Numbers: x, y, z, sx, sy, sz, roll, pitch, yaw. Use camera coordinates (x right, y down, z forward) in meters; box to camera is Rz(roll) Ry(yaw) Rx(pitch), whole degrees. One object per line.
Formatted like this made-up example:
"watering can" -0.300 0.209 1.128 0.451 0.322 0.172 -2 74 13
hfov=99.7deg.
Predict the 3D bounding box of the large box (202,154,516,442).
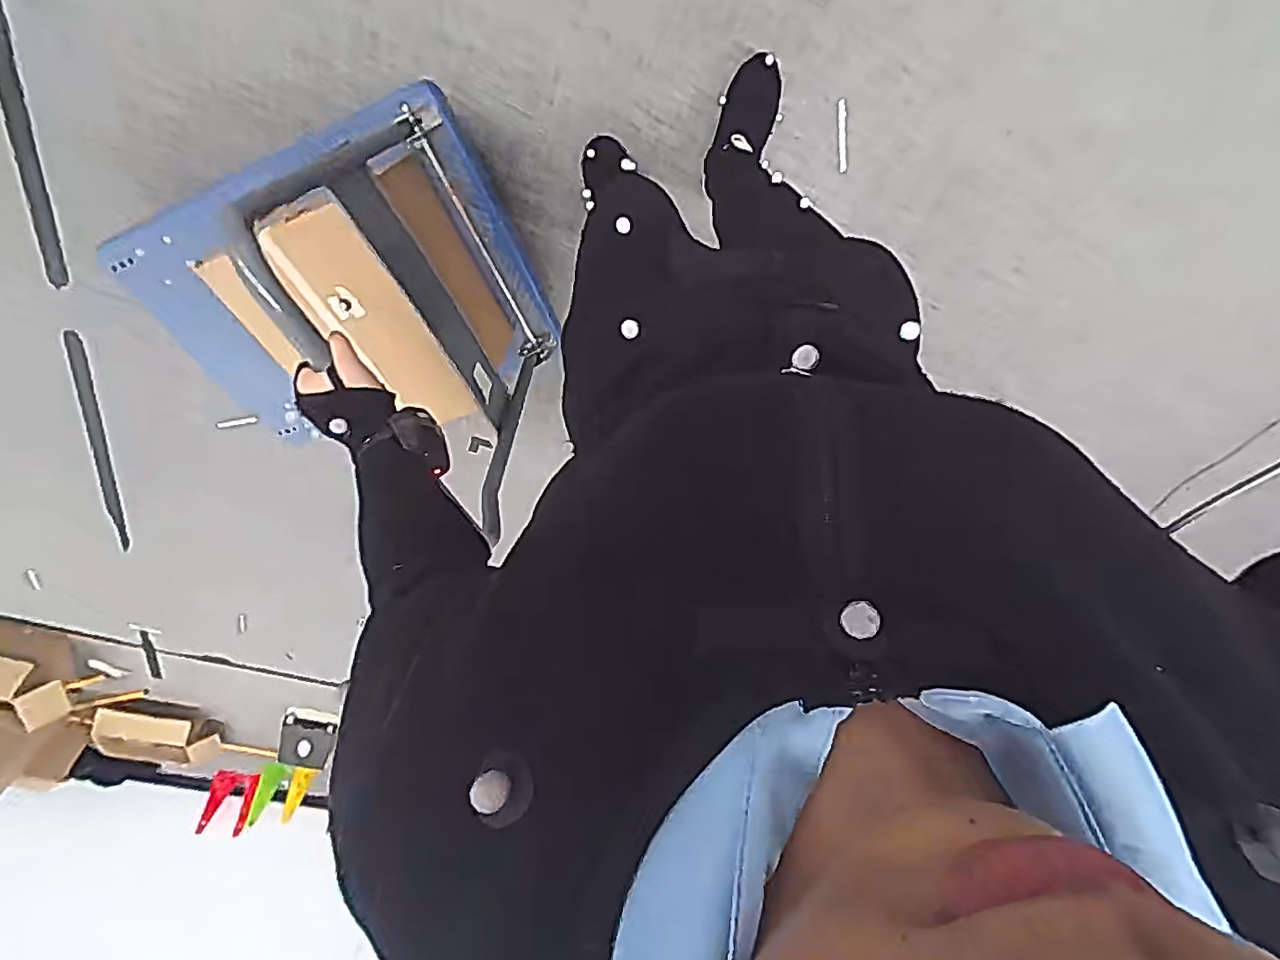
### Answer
"large box" -0.501 -0.351 1.076 0.320 0.320 0.408 -15 129 13
